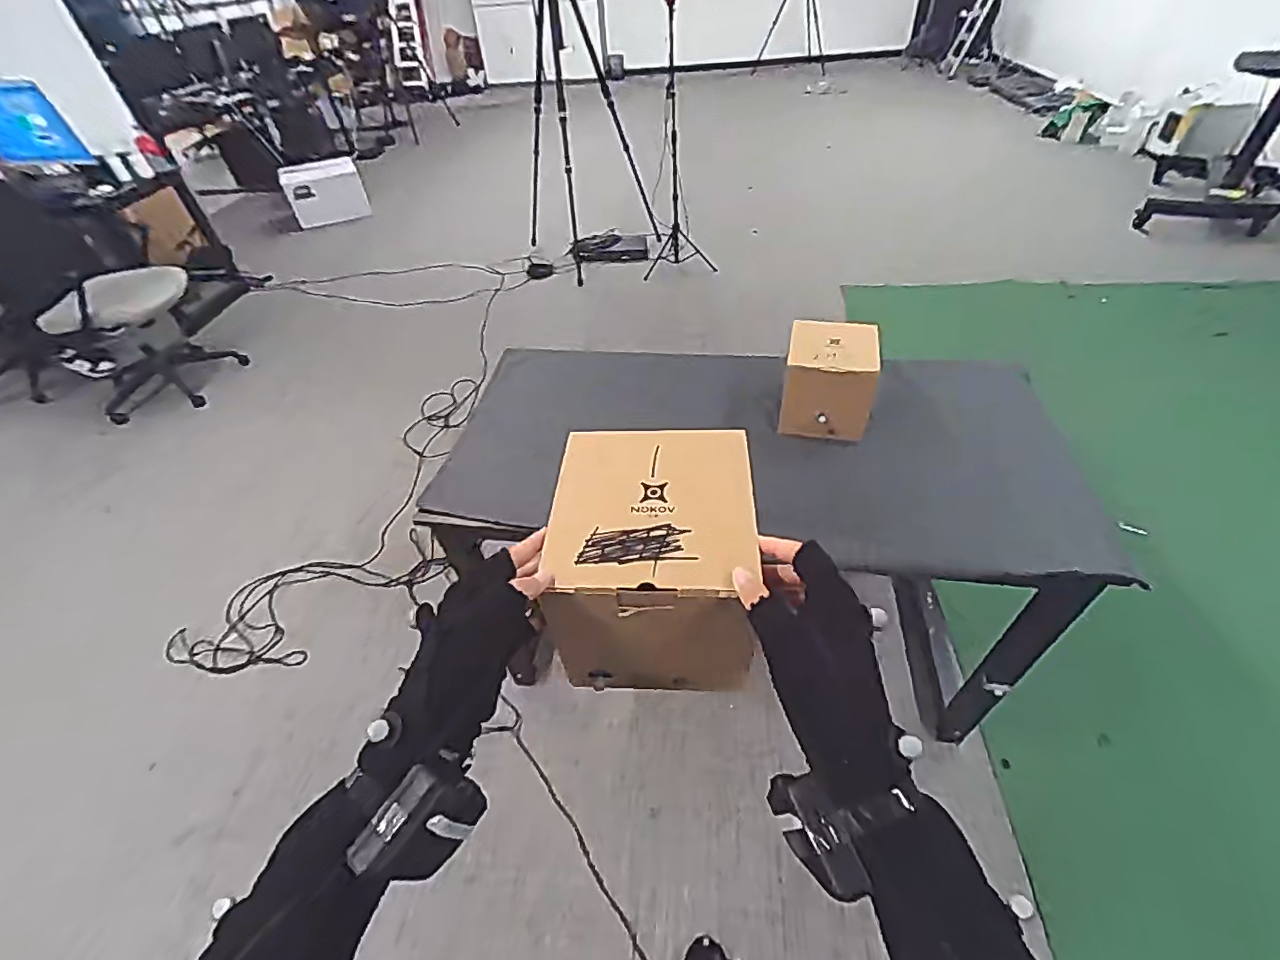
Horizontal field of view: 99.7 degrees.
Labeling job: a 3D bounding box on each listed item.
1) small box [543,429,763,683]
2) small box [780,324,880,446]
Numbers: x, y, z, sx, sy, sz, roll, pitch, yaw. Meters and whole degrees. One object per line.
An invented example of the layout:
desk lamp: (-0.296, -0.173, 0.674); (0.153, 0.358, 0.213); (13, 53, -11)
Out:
small box: (0.022, 0.073, 0.504); (0.168, 0.176, 0.179); (-1, 45, 6)
small box: (0.382, -0.195, 1.103); (0.168, 0.176, 0.179); (8, 46, 14)
